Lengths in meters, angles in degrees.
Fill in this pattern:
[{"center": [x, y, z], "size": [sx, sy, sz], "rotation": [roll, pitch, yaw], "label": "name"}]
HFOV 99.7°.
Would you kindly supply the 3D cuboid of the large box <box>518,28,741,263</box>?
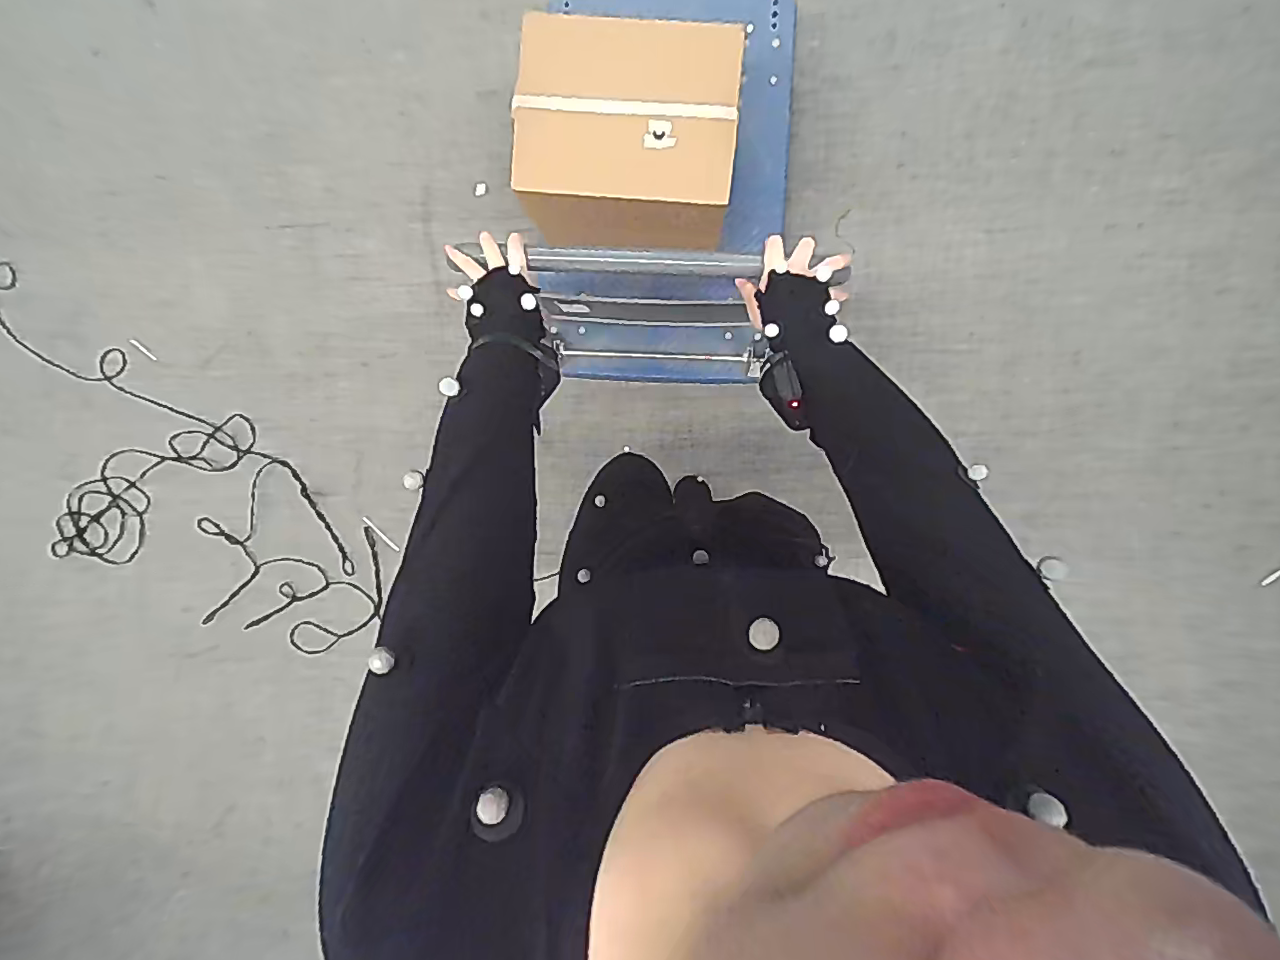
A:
[{"center": [-0.019, -0.678, 1.149], "size": [0.408, 0.320, 0.320], "rotation": [5, 93, 2], "label": "large box"}]
